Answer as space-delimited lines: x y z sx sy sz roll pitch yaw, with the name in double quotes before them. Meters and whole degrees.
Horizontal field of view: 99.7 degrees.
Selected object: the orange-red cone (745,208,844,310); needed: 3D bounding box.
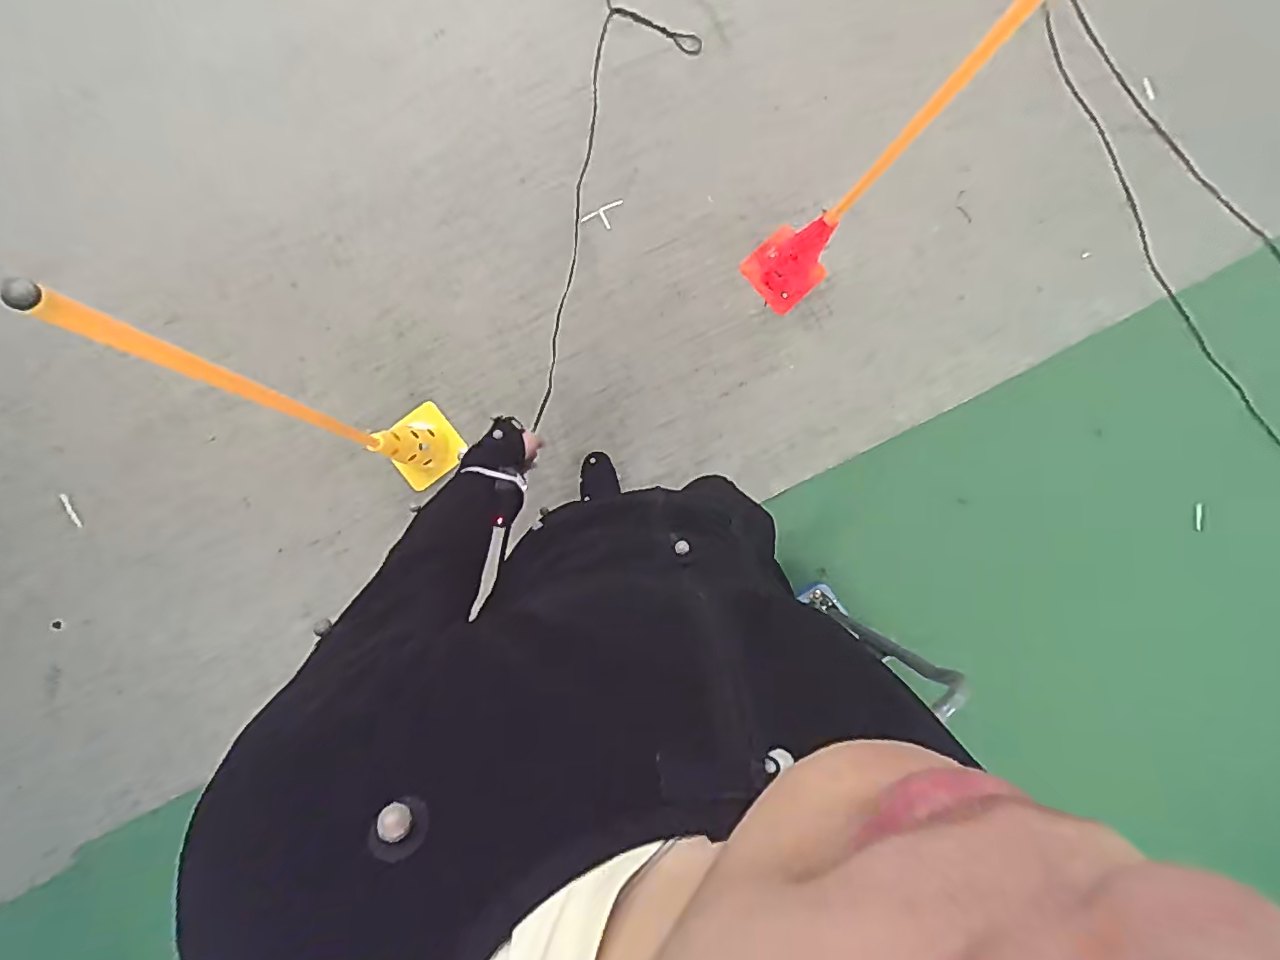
"orange-red cone" 0.447 -0.626 1.438 0.199 0.360 0.198 -41 95 -2
